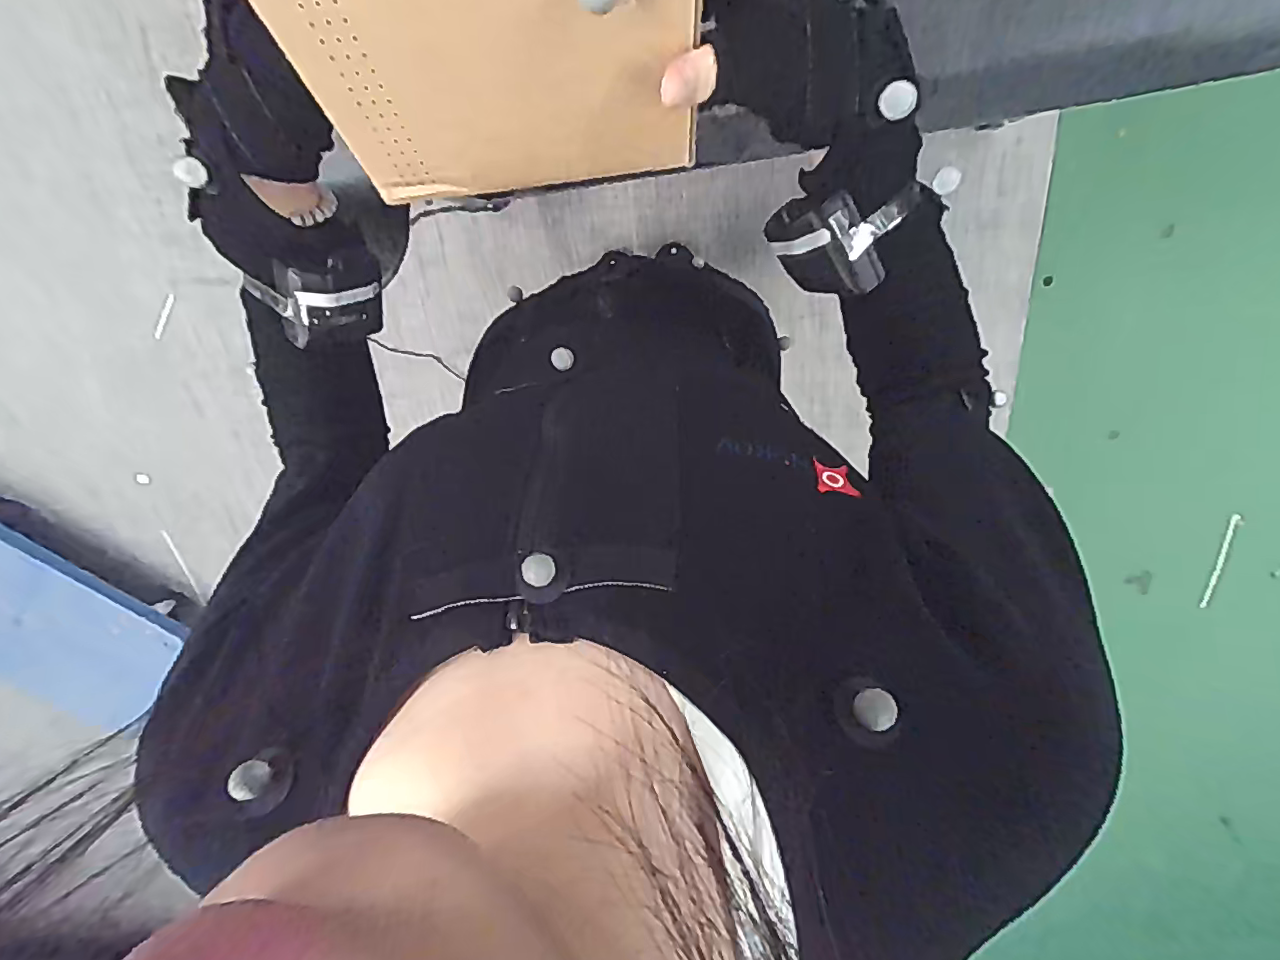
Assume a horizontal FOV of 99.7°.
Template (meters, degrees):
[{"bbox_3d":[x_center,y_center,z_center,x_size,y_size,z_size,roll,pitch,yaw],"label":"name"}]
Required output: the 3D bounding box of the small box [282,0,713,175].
[{"bbox_3d":[-0.063,-0.259,0.227,0.176,0.179,0.168,-7,75,2],"label":"small box"}]
